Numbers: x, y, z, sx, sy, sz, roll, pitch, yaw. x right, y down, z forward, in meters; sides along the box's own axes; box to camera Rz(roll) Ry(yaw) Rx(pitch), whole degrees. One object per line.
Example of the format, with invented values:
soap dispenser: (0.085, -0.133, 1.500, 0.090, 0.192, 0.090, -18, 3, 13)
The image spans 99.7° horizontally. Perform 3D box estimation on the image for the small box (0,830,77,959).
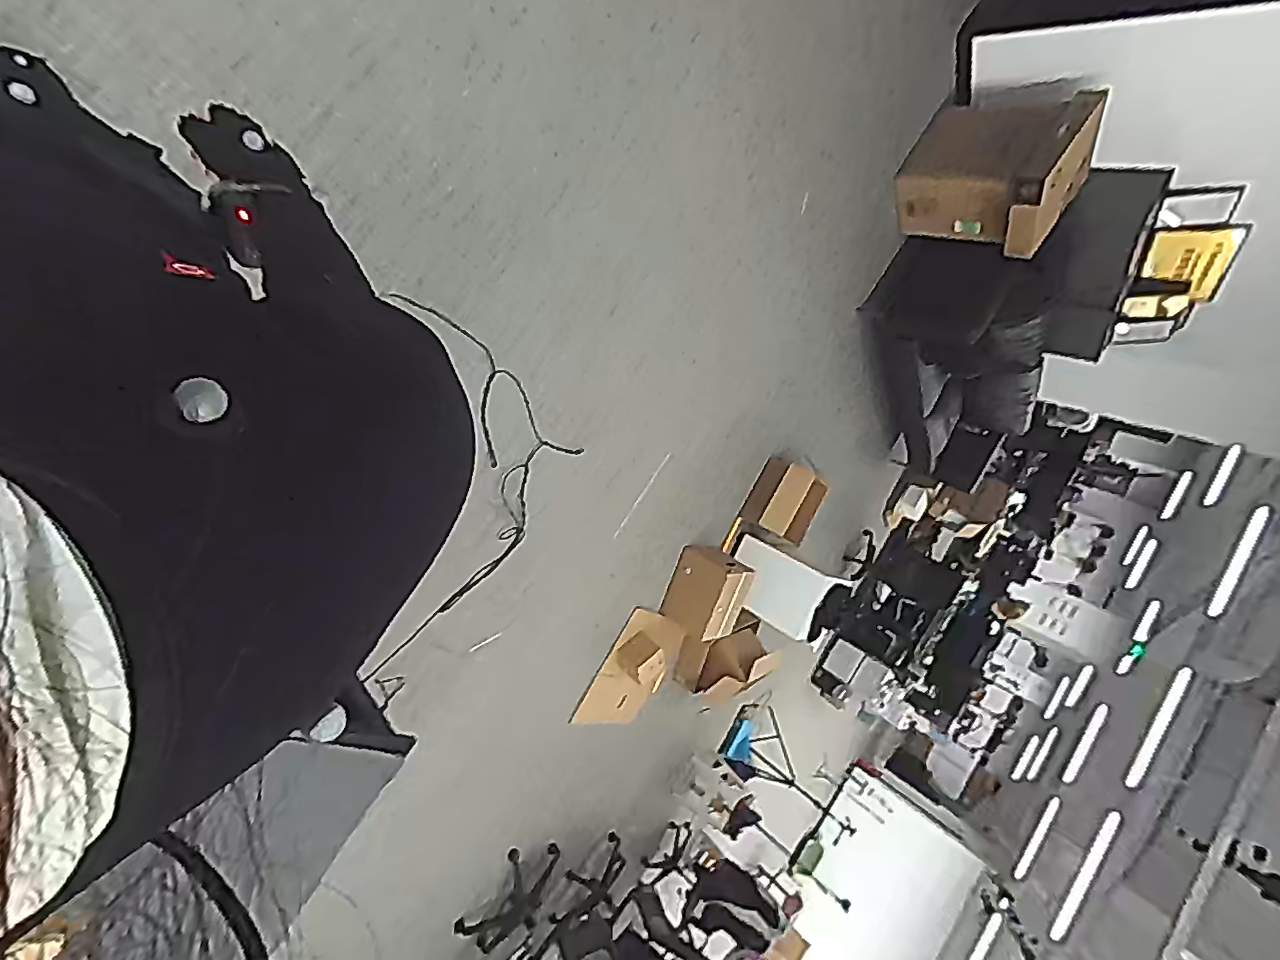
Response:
small box: (-0.744, 0.490, 0.552, 0.179, 0.176, 0.168, -54, 142, -8)
